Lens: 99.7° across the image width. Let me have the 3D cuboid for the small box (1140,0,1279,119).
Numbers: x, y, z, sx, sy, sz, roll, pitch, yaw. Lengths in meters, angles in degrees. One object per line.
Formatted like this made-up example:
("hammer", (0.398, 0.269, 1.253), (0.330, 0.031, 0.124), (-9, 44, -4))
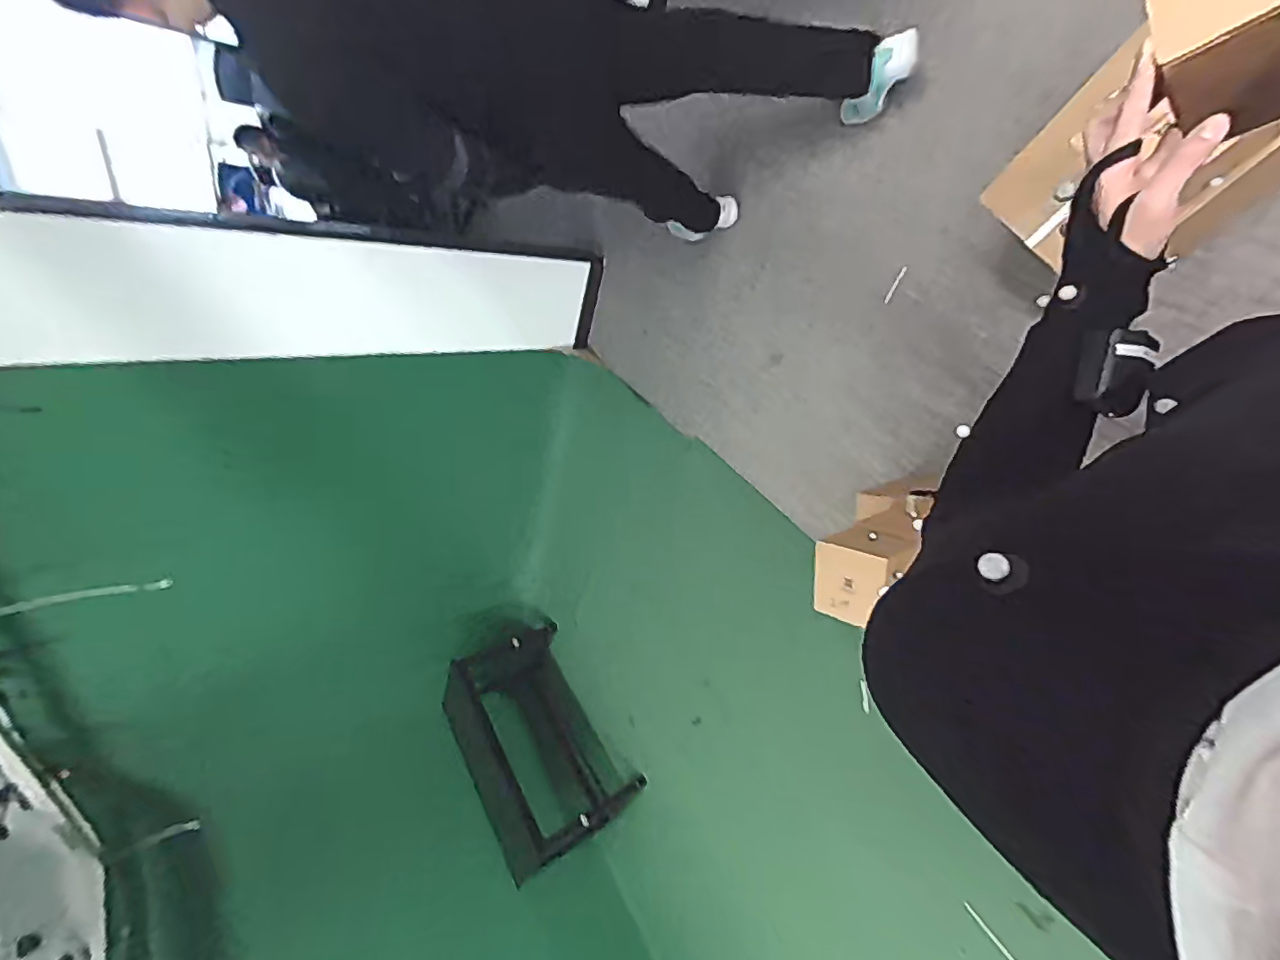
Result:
("small box", (0.481, -0.400, 0.387), (0.168, 0.176, 0.179), (-8, 85, 51))

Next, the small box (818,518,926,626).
("small box", (0.529, 0.198, 1.232), (0.168, 0.176, 0.179), (14, 112, 50))

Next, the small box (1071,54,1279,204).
("small box", (0.850, -0.570, 0.863), (0.179, 0.176, 0.168), (60, 140, 17))
